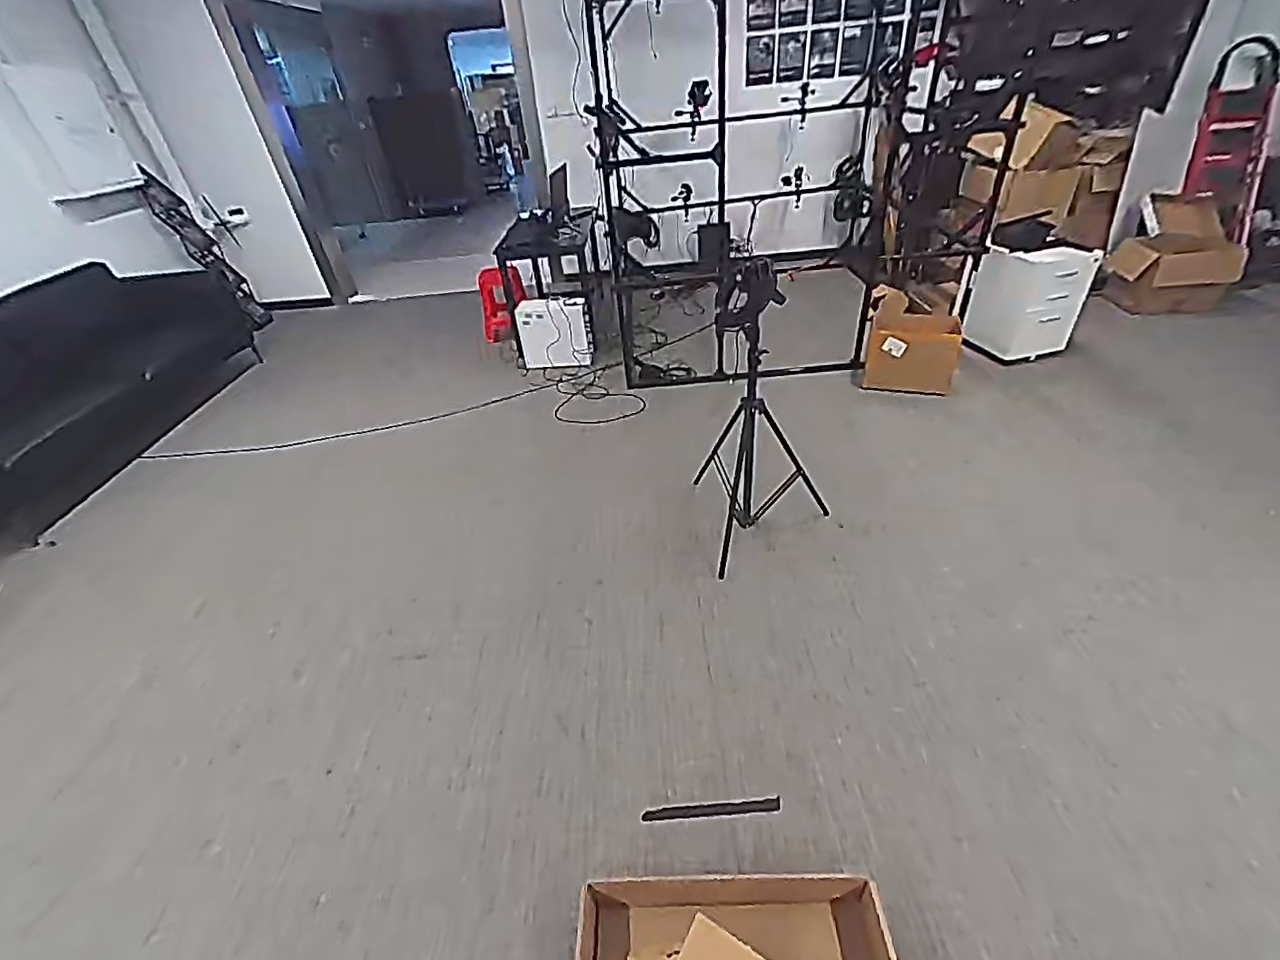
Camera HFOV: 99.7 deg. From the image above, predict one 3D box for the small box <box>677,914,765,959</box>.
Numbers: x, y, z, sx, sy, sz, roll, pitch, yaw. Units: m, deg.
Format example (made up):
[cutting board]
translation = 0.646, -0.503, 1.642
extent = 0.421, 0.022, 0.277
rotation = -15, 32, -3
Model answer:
[small box]
translation = 0.138, 0.889, 0.900
extent = 0.179, 0.176, 0.168
rotation = 16, 39, 29
